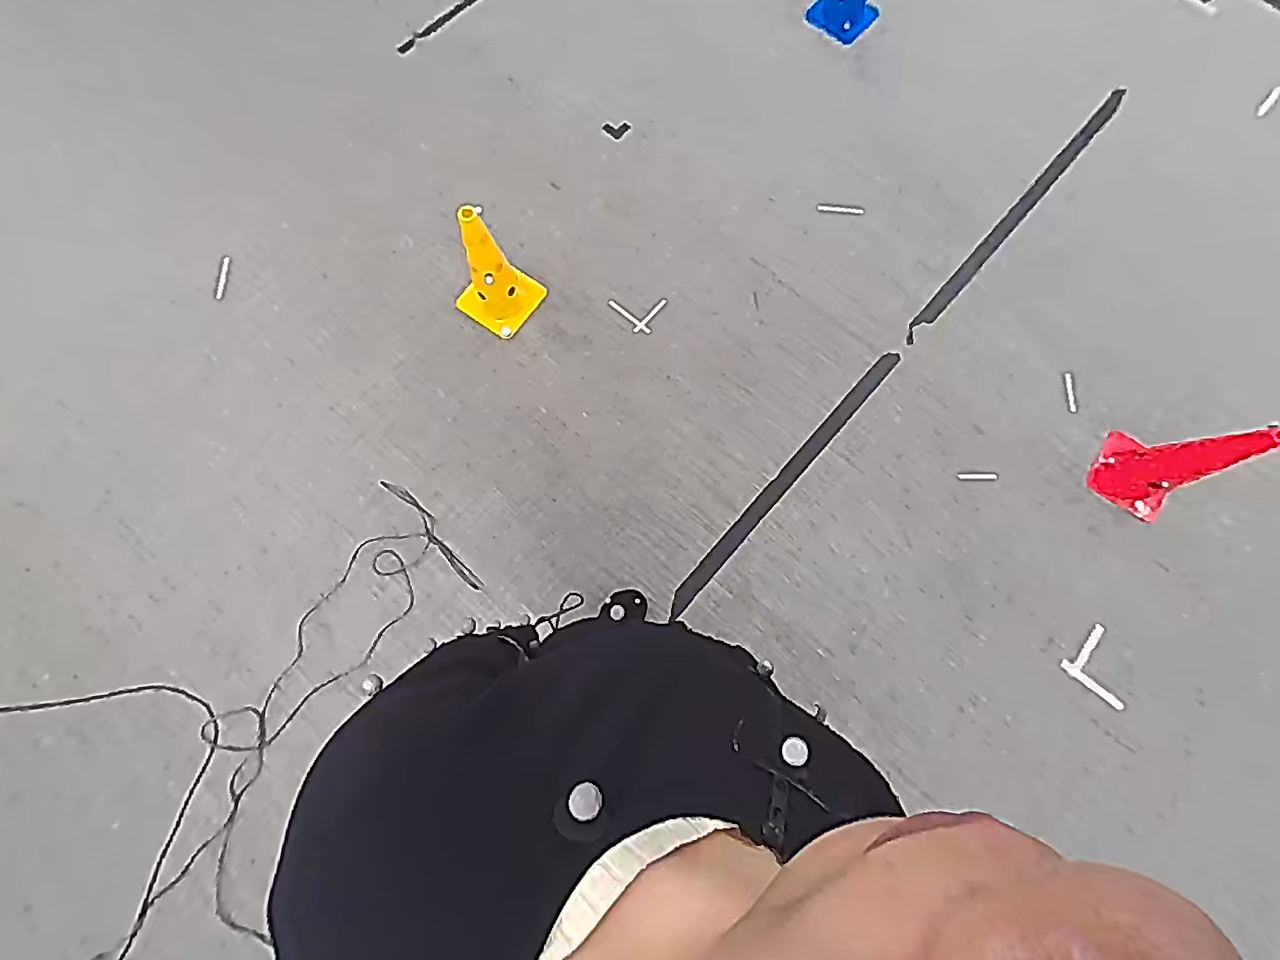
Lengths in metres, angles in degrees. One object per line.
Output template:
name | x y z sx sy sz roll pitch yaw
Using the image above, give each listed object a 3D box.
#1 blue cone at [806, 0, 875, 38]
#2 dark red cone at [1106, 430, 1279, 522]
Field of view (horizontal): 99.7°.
blue cone | 0.683 -1.627 1.672 0.192 0.380 0.193 42 79 9
dark red cone | 1.362 -0.050 1.282 0.201 0.394 0.202 34 78 8
